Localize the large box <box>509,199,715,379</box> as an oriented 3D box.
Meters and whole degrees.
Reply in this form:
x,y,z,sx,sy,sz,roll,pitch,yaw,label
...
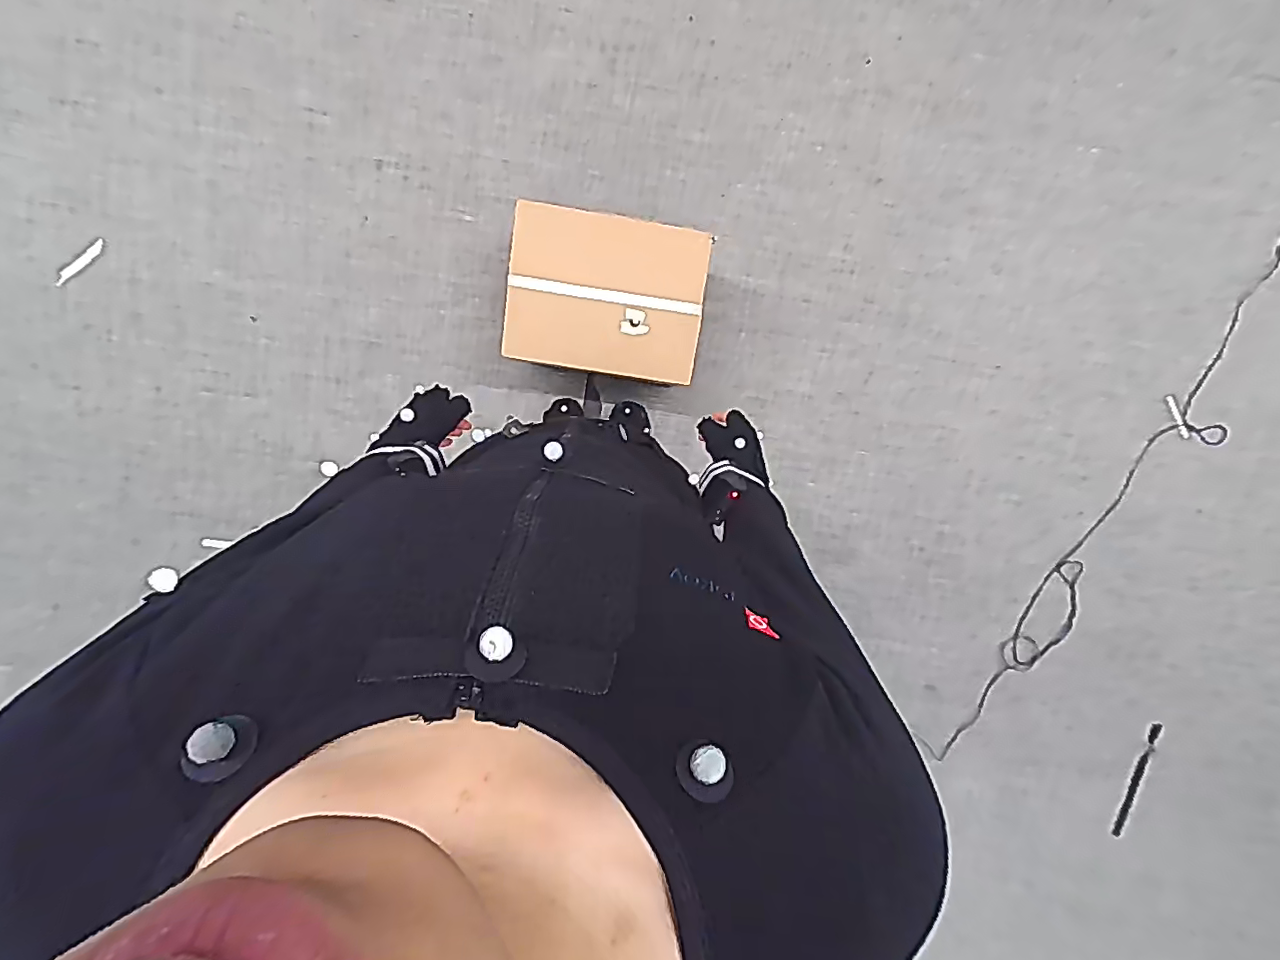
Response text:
x,y,z,sx,sy,sz,roll,pitch,yaw,label
-0.070,-0.417,1.264,0.408,0.320,0.320,8,101,-4,large box
